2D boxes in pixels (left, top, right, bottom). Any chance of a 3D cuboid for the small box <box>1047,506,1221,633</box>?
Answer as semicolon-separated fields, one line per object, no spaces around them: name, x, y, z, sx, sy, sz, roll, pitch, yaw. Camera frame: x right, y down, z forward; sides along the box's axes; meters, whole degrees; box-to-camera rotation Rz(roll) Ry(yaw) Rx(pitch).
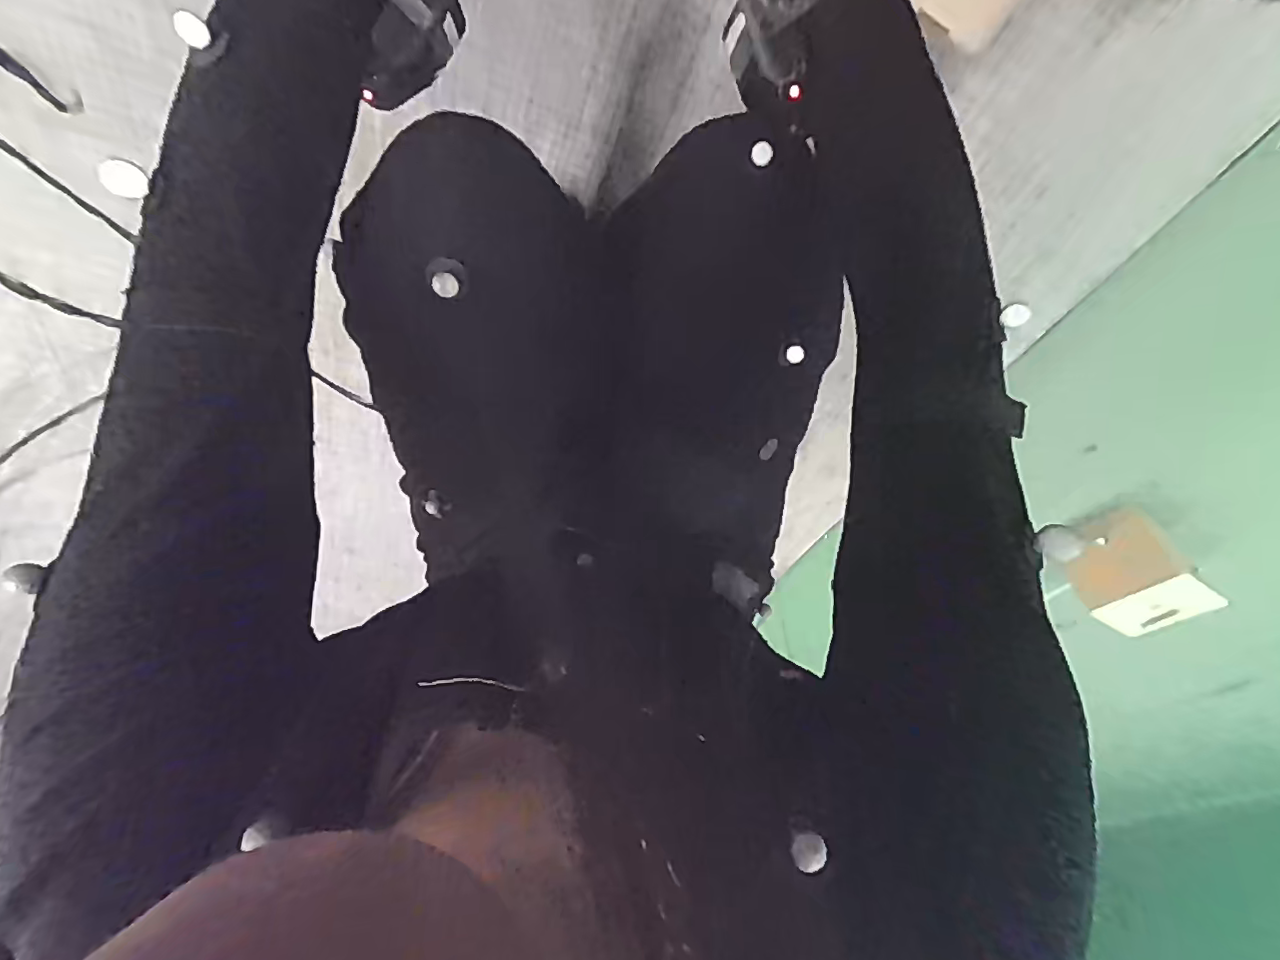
small box;0.974;0.178;1.080;0.179;0.176;0.168;25;131;-23
